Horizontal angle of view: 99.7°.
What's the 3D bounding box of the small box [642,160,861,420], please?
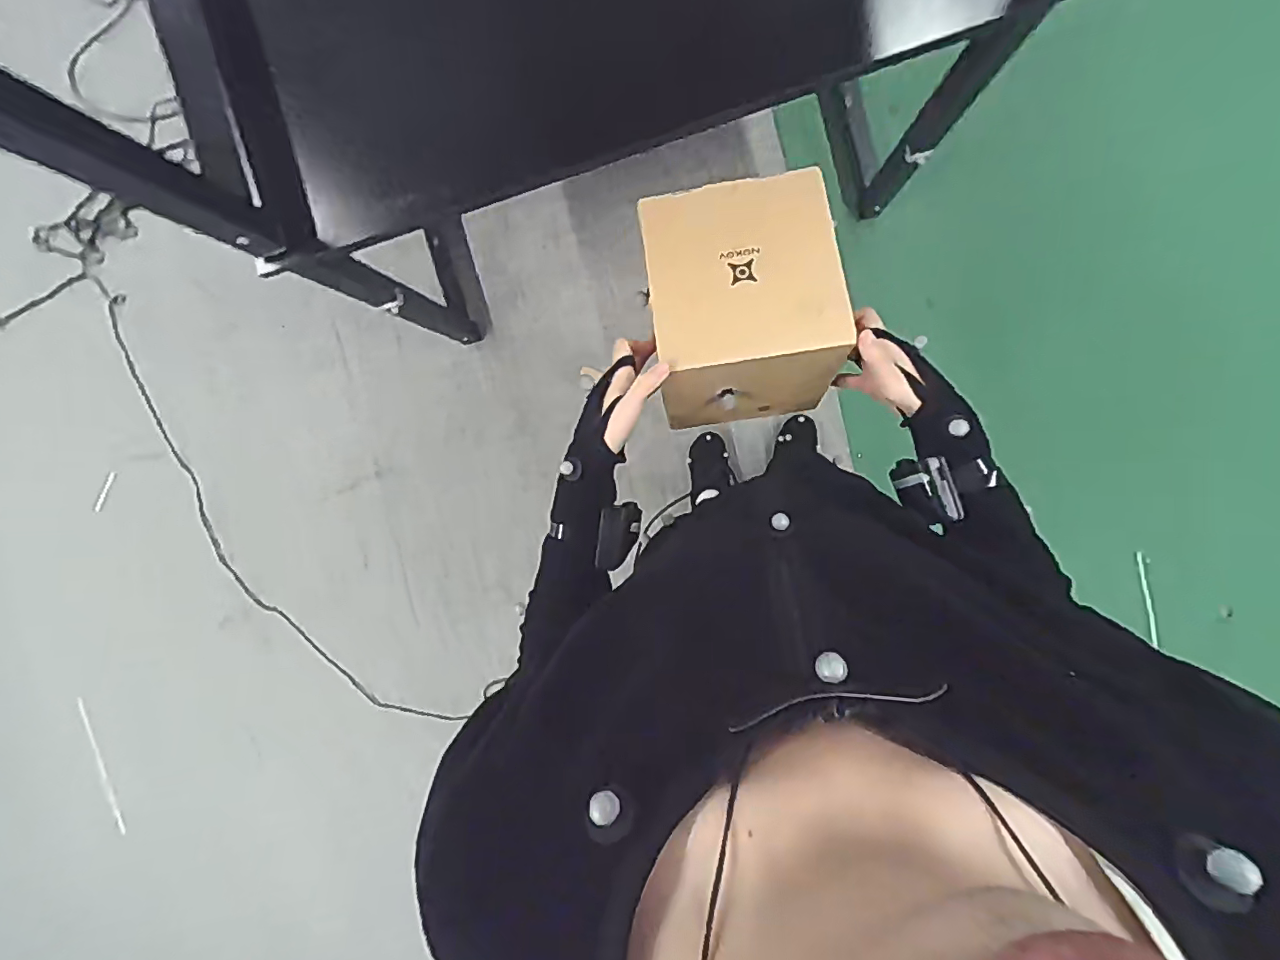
[{"bbox_3d":[0.099,-0.167,0.534,0.168,0.176,0.179,-7,76,4],"label":"small box"}]
